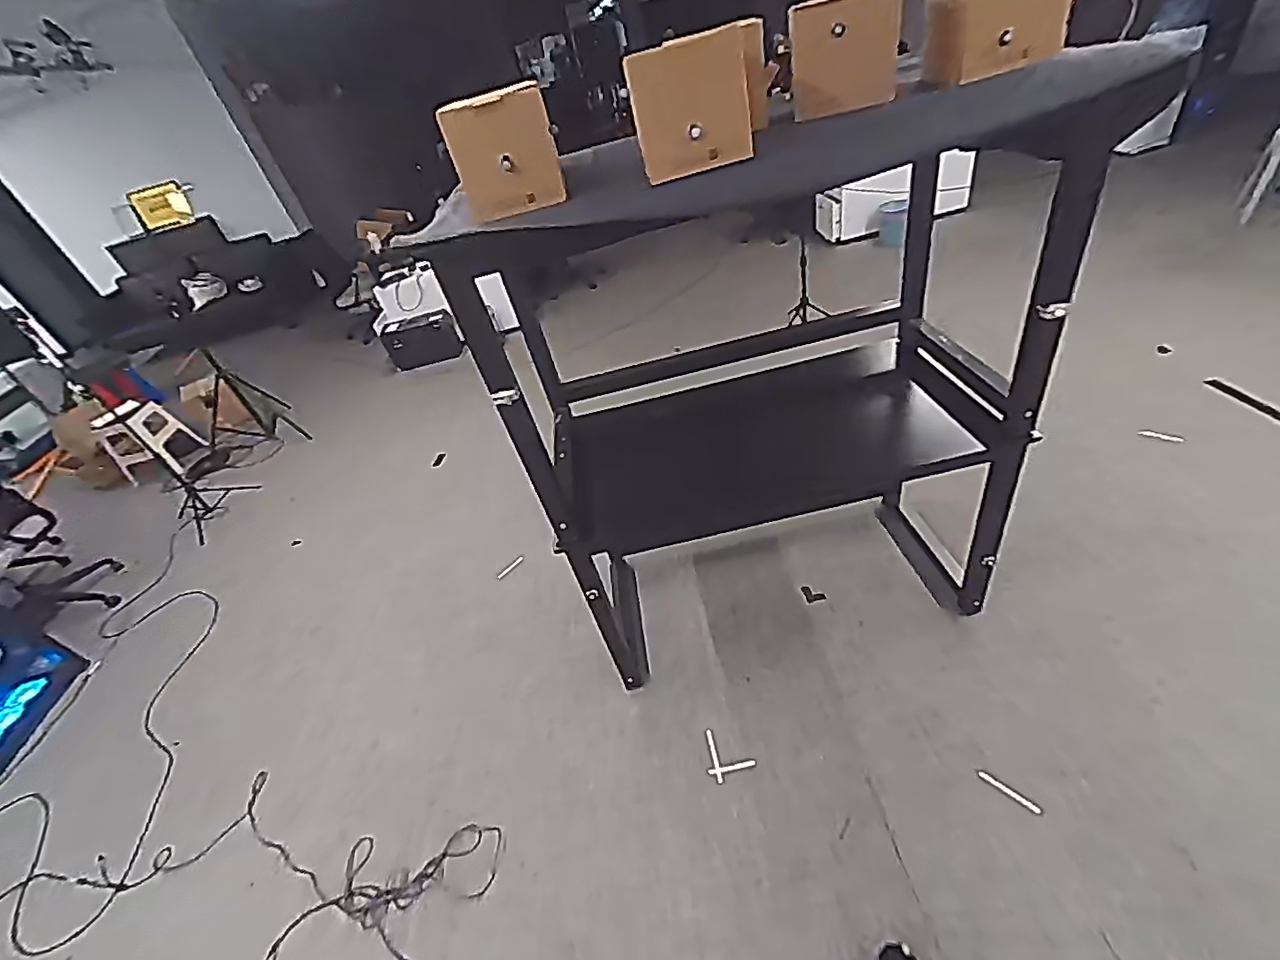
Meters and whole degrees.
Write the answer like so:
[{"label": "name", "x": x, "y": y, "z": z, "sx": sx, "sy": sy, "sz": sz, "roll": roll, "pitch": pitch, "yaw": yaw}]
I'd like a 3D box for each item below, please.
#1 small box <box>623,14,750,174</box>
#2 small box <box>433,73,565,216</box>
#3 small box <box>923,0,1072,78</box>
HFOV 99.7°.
[{"label": "small box", "x": 0.072, "y": -0.606, "z": 0.863, "sx": 0.168, "sy": 0.176, "sz": 0.179, "roll": -13, "pitch": 37, "yaw": 6}, {"label": "small box", "x": -0.232, "y": -0.575, "z": 0.935, "sx": 0.168, "sy": 0.176, "sz": 0.179, "roll": -15, "pitch": 40, "yaw": 1}, {"label": "small box", "x": 0.613, "y": -0.819, "z": 0.936, "sx": 0.168, "sy": 0.176, "sz": 0.179, "roll": -10, "pitch": 39, "yaw": 8}]
